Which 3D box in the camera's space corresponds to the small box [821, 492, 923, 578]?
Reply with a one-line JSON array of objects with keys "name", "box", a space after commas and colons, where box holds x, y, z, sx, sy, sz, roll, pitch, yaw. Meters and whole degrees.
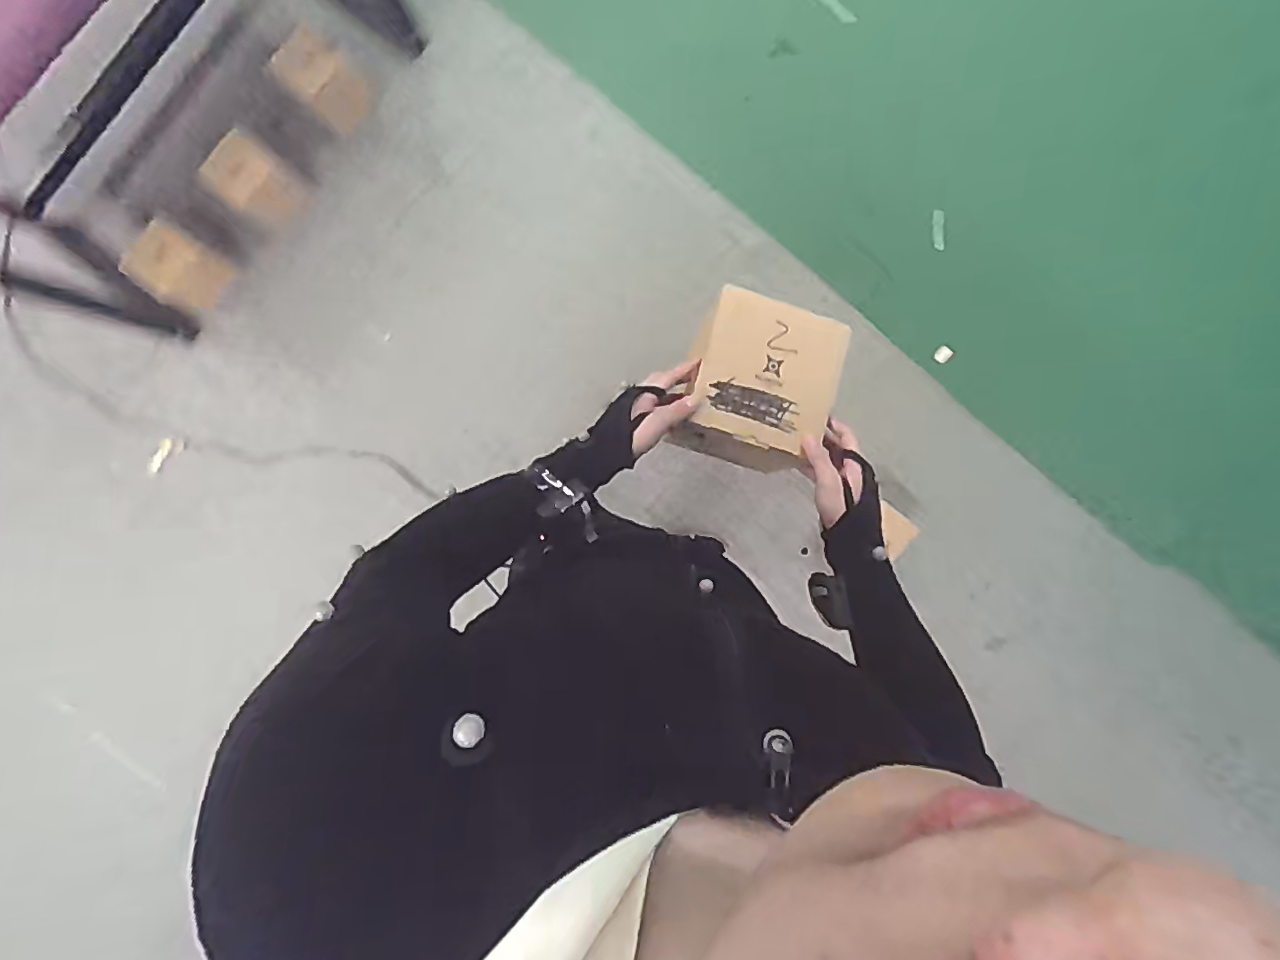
[{"name": "small box", "box": [0.645, 0.150, 1.531, 0.179, 0.176, 0.168, 40, 92, 1]}]

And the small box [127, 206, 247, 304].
[{"name": "small box", "box": [-1.314, -0.647, 1.582, 0.168, 0.176, 0.179, 40, 91, 1]}]

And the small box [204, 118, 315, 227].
[{"name": "small box", "box": [-1.092, -0.885, 1.573, 0.168, 0.176, 0.179, 41, 92, 2]}]
